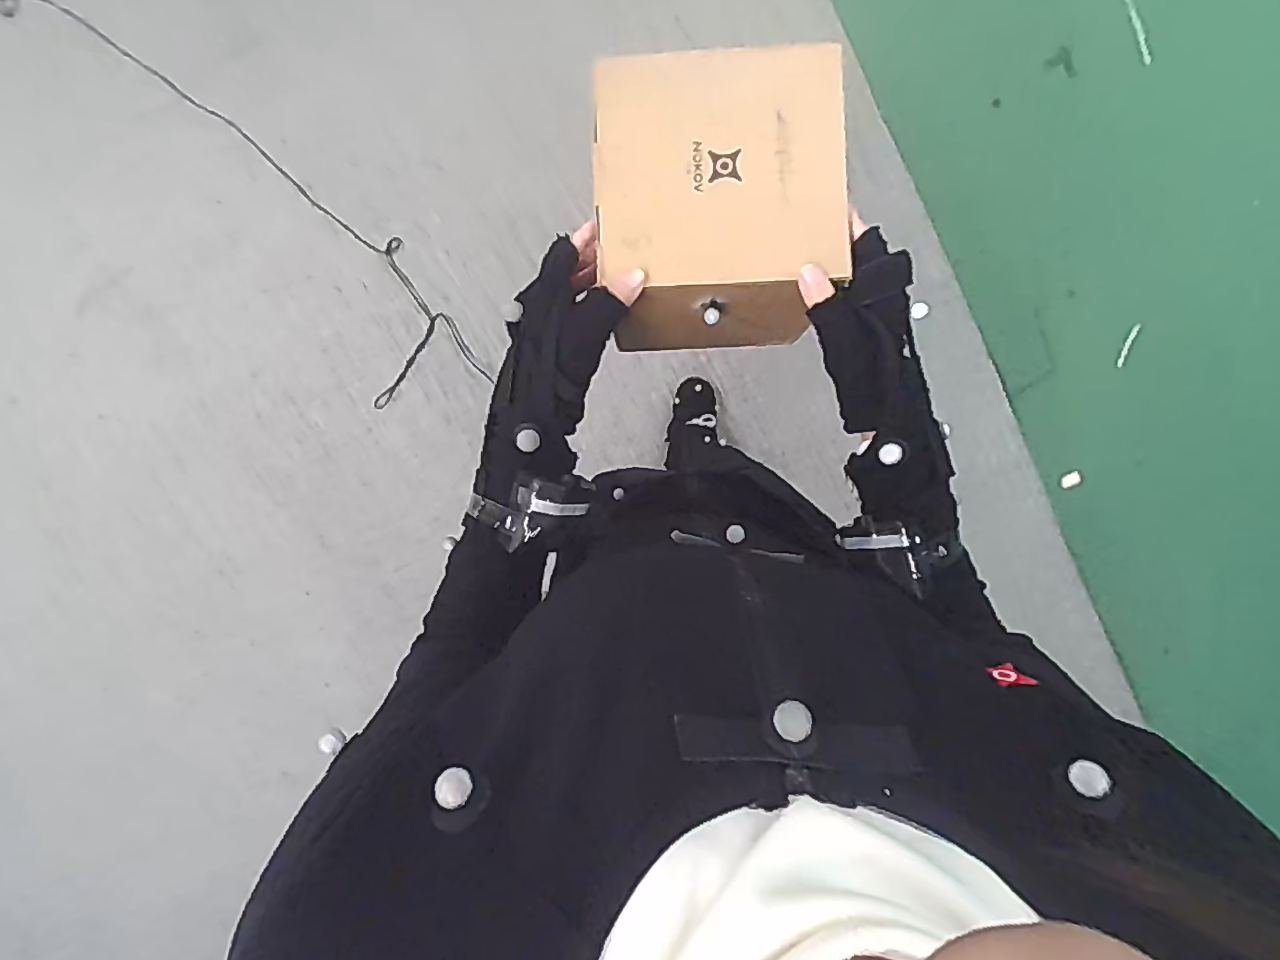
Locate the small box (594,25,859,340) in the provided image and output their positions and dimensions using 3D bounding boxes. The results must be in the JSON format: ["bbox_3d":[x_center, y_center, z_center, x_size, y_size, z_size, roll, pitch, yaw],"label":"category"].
[{"bbox_3d":[0.064,-0.223,0.453,0.179,0.176,0.168,-4,89,3],"label":"small box"}]
